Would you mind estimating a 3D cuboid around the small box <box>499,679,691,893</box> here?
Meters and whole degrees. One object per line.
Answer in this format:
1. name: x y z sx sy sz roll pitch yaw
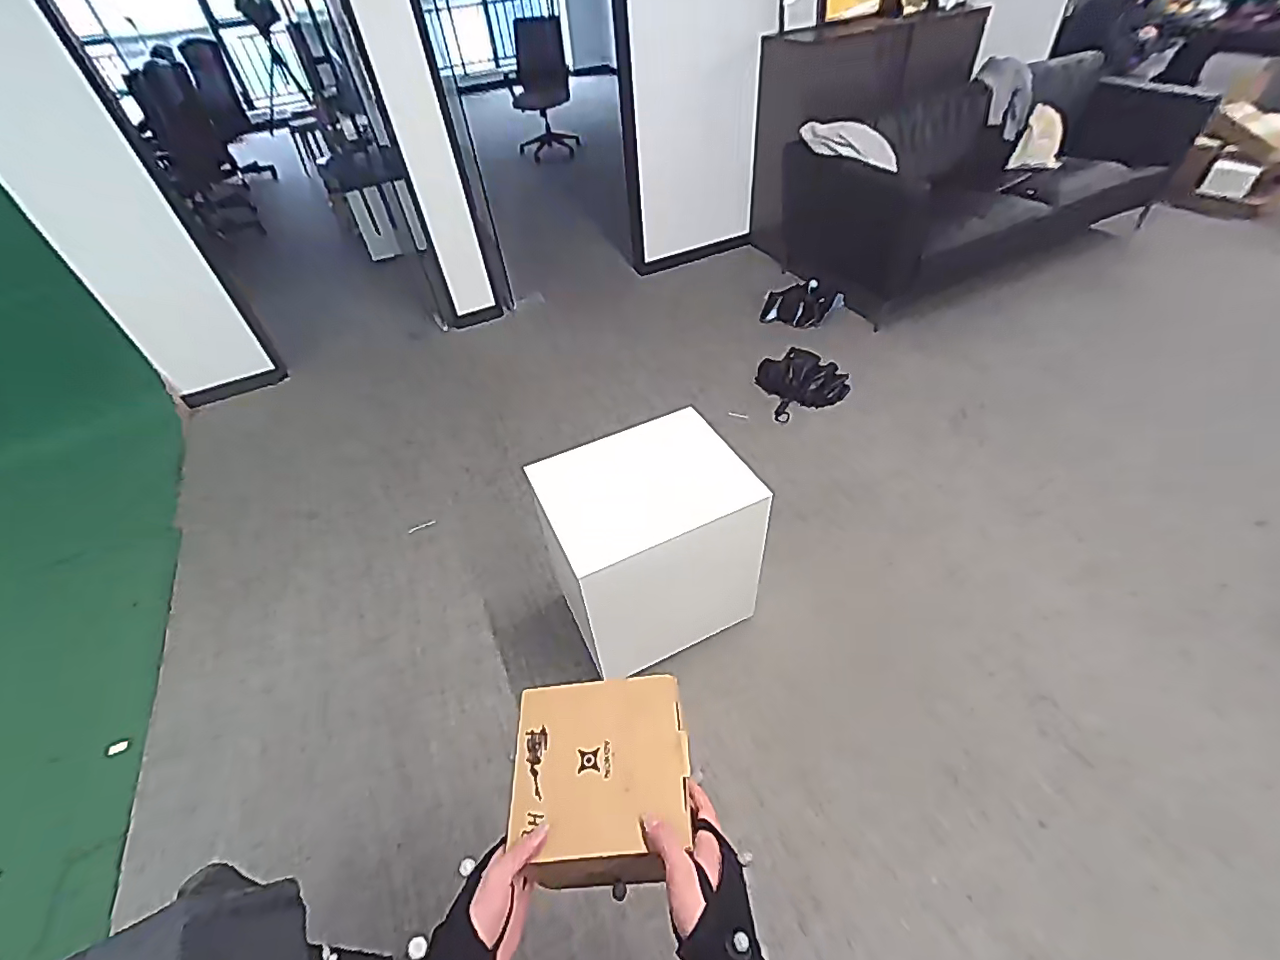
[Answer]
1. small box: -0.036 0.340 0.598 0.179 0.176 0.168 -6 44 3
